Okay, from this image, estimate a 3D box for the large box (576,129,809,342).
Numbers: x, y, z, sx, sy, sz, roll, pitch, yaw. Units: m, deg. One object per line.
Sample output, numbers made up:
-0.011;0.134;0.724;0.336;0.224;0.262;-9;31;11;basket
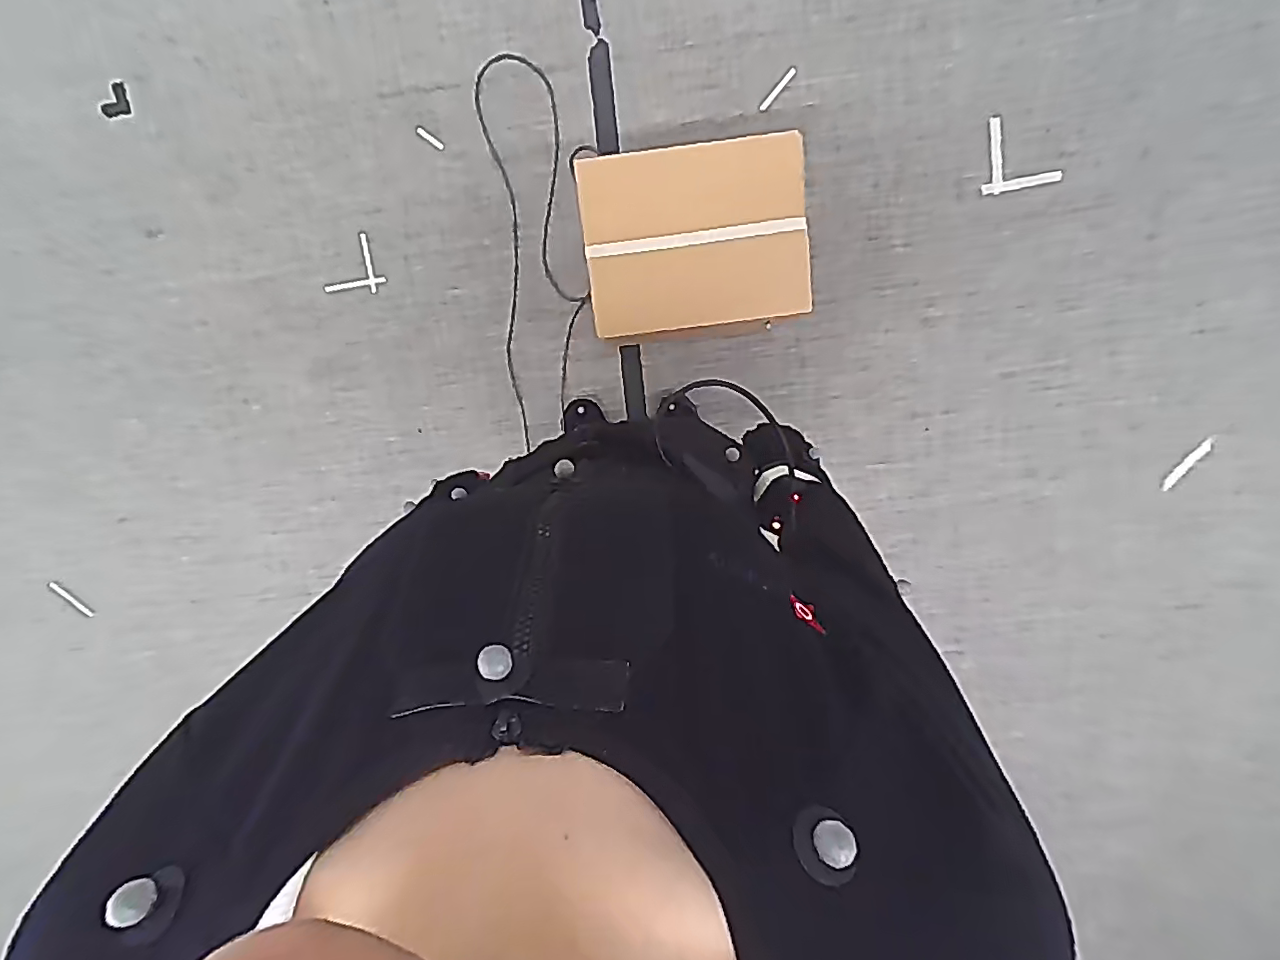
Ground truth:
0.104;-0.475;1.130;0.408;0.320;0.320;-7;101;2;large box
